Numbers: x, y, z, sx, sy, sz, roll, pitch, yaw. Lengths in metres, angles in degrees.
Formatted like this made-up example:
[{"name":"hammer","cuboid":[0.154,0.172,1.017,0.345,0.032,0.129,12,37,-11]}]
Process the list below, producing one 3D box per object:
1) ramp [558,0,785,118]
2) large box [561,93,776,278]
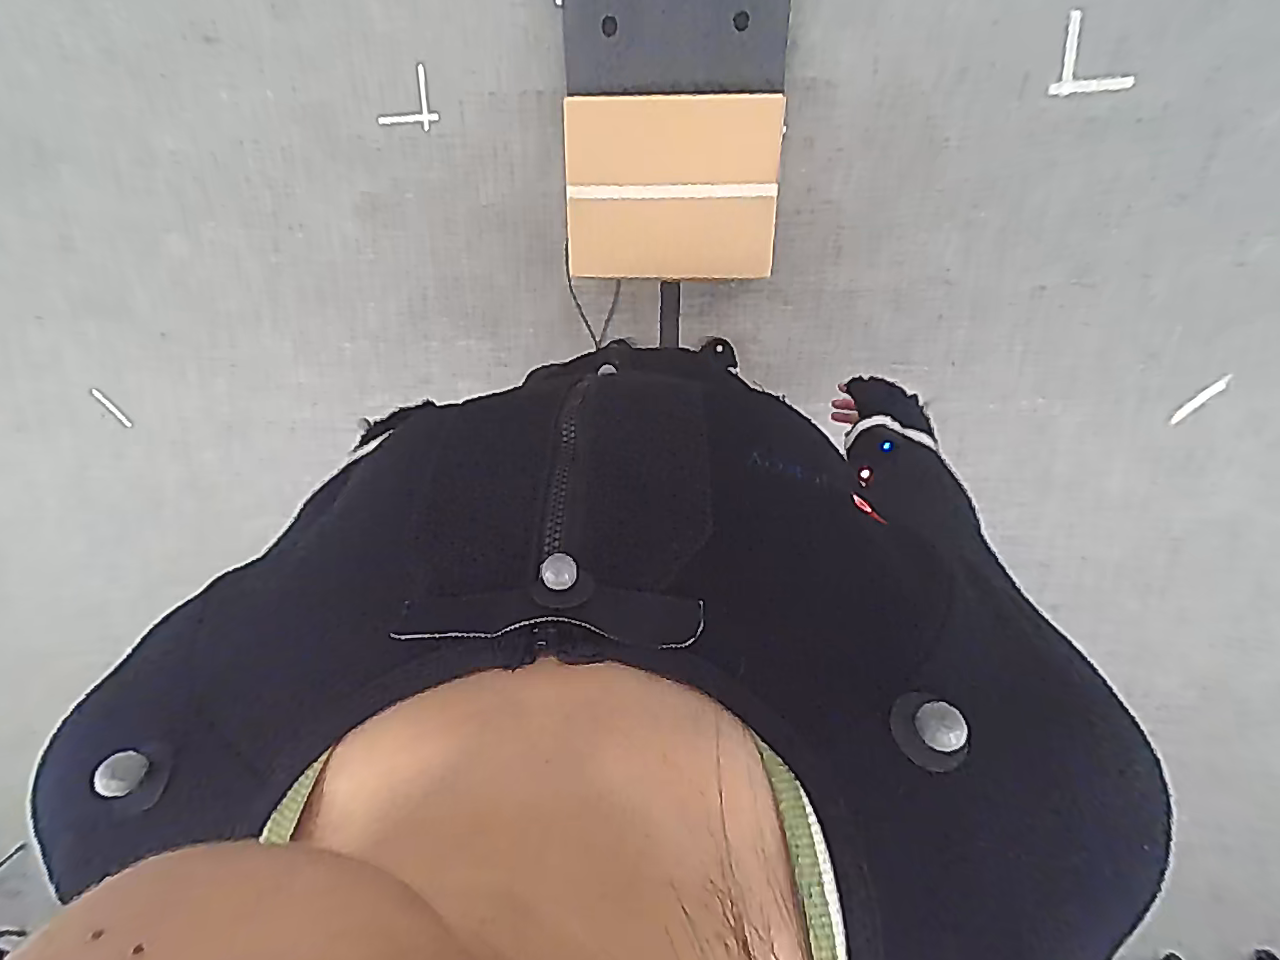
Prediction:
[{"name":"ramp","cuboid":[0.065,-1.191,1.085,0.509,0.206,0.991,-1,106,3]},{"name":"large box","cuboid":[0.062,-0.608,1.178,0.408,0.320,0.320,2,109,3]}]
